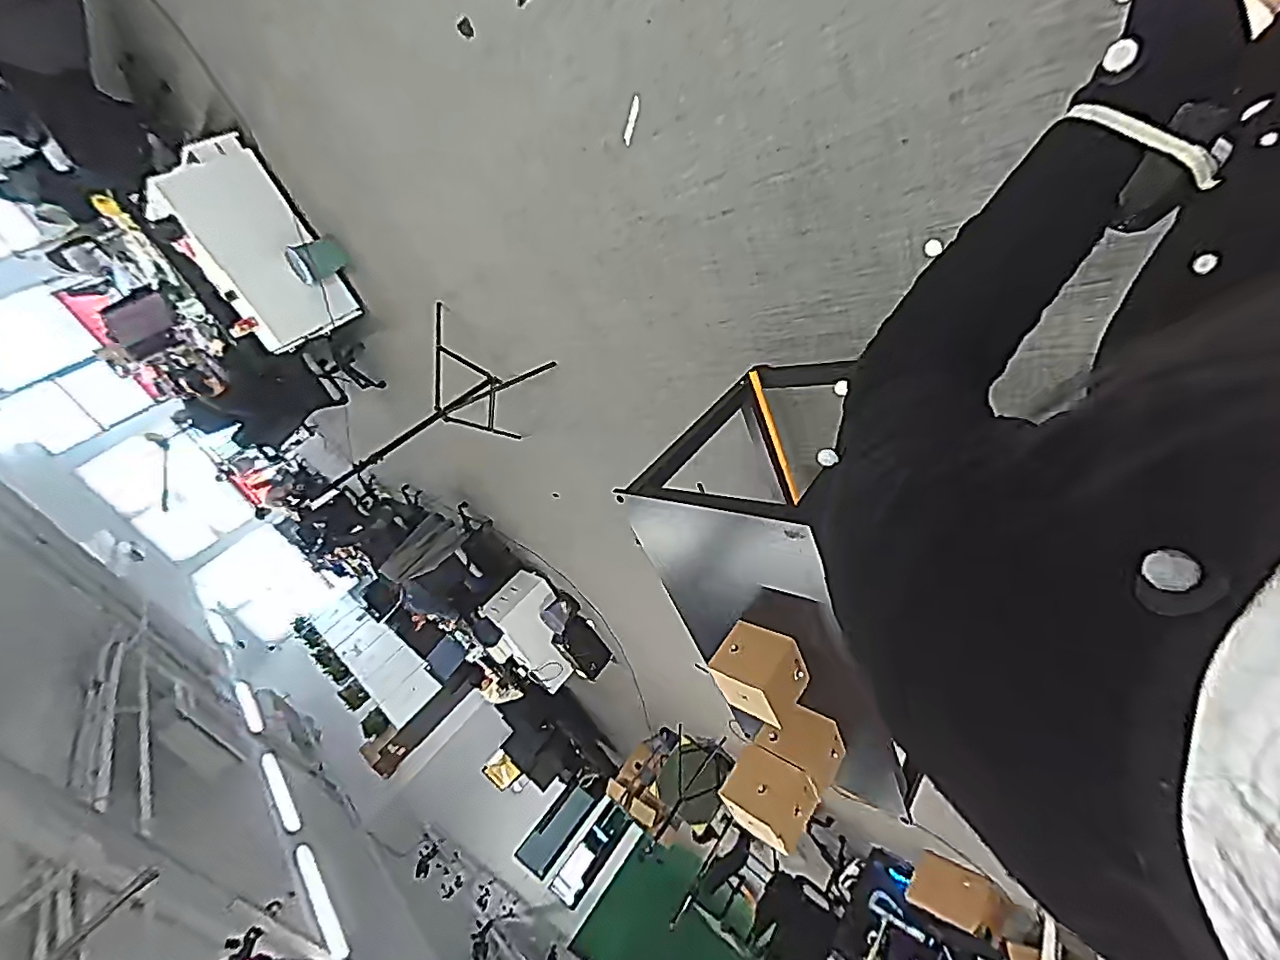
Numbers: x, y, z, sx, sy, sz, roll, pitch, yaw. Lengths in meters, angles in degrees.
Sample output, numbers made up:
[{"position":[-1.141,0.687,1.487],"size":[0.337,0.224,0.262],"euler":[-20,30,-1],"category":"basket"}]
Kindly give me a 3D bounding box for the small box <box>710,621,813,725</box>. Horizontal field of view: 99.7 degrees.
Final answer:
[{"position":[0.322,0.498,1.422],"size":[0.179,0.176,0.168],"euler":[6,133,48],"category":"small box"}]

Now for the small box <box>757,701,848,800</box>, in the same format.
[{"position":[0.472,0.768,1.561],"size":[0.179,0.176,0.168],"euler":[10,135,46],"category":"small box"}]

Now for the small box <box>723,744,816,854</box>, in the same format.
[{"position":[0.364,0.868,1.489],"size":[0.179,0.176,0.168],"euler":[6,132,48],"category":"small box"}]
